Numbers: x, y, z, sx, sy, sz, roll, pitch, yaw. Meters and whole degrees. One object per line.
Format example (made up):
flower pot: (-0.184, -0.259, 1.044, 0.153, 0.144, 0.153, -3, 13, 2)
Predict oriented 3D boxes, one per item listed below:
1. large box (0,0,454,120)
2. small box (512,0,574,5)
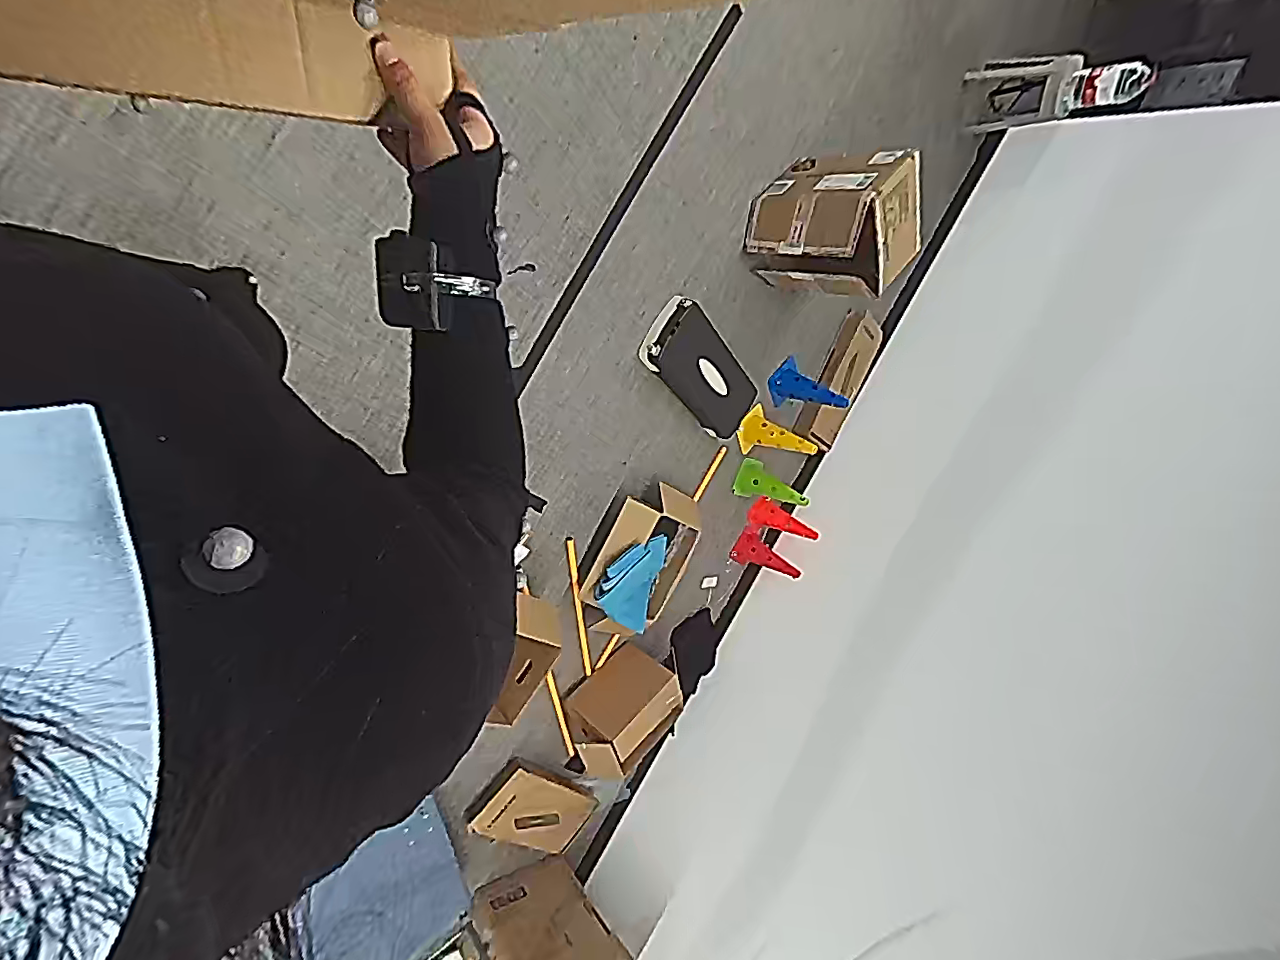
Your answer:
large box: (-0.374, -0.436, 0.339, 0.408, 0.320, 0.320, -15, 127, -31)
small box: (-0.053, -0.246, 0.133, 0.179, 0.176, 0.168, -13, 129, -33)
